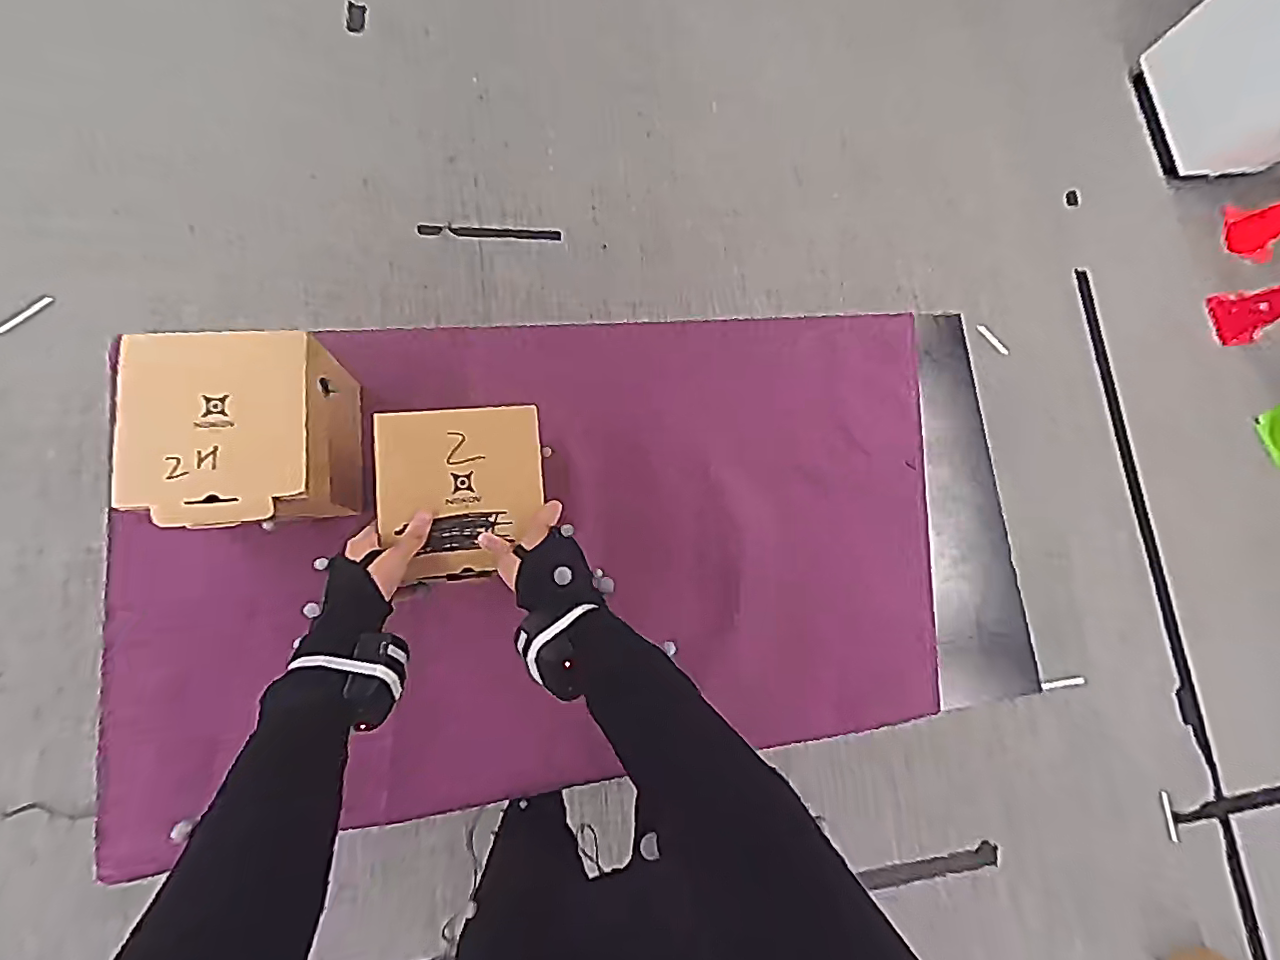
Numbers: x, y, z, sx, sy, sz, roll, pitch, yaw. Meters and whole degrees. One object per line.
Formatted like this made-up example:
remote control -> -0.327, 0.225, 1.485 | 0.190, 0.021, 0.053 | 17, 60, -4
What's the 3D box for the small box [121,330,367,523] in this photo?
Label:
small box -> -0.420, -0.051, 0.605 | 0.168, 0.176, 0.179 | -4, 81, -10
